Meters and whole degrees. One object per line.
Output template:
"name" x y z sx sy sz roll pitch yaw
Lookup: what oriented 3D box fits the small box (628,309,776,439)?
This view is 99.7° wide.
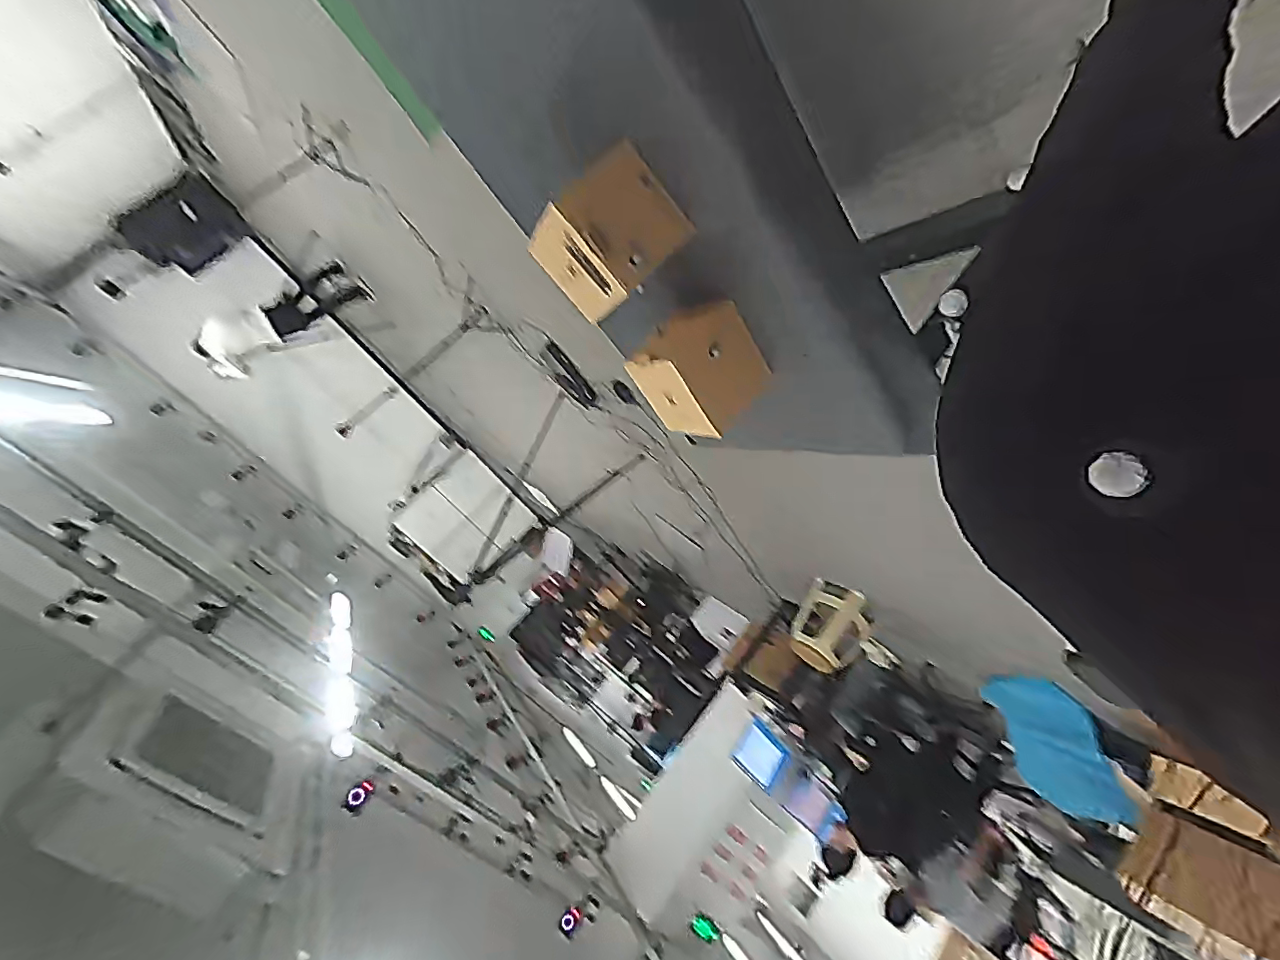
"small box" 0.117 -0.200 1.002 0.179 0.176 0.168 50 162 -28
